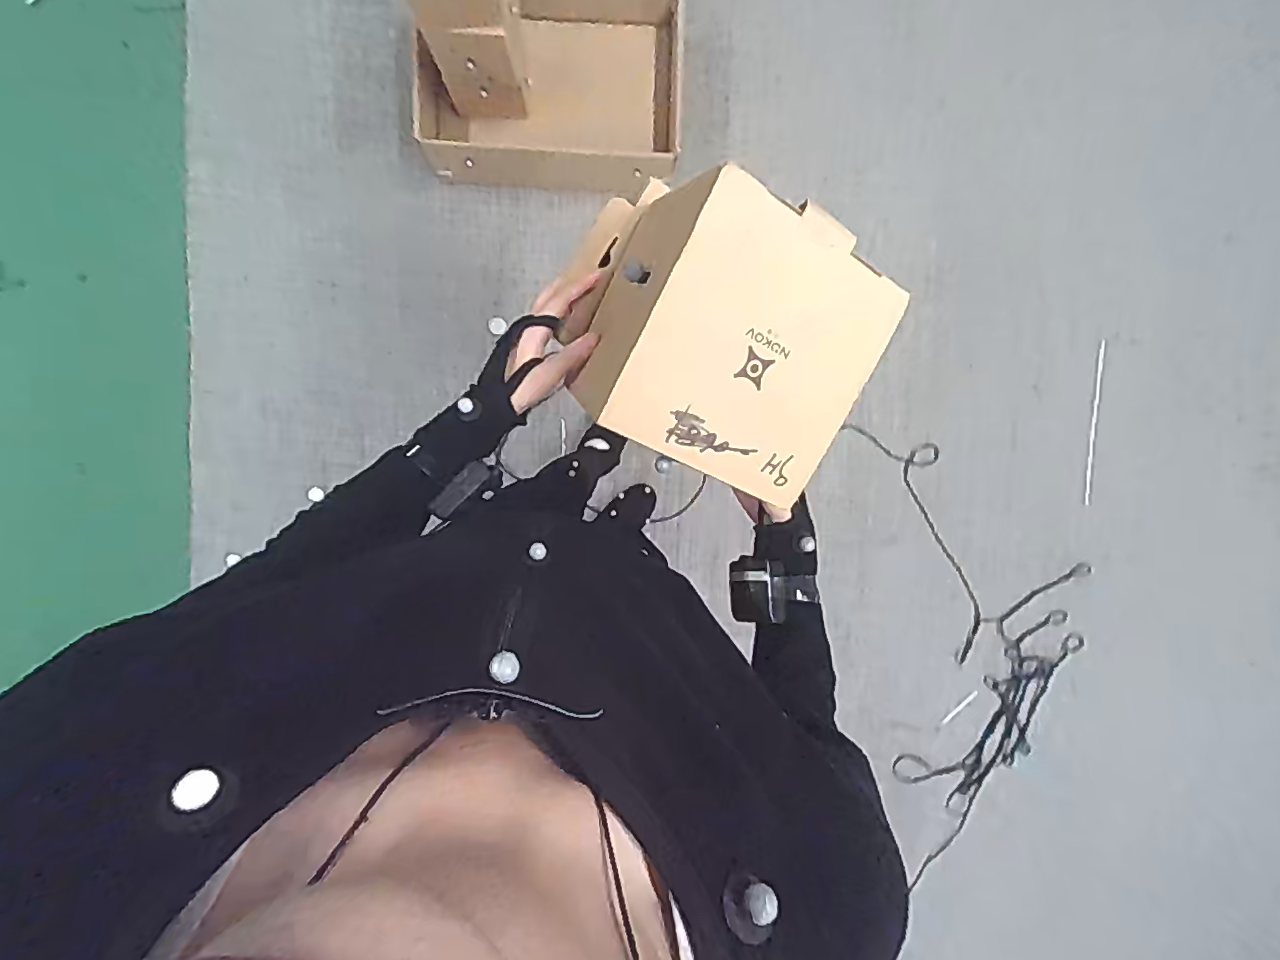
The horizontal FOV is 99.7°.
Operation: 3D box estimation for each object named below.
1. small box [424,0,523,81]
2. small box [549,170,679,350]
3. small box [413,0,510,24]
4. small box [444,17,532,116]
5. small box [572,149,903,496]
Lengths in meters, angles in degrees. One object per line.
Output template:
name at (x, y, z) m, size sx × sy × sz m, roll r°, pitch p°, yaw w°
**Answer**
small box at (-0.340, -0.971, 1.123) m, size 0.168 × 0.176 × 0.179 m, roll 2°, pitch 96°, yaw -4°
small box at (0.017, -0.186, 0.584) m, size 0.179 × 0.176 × 0.168 m, roll 31°, pitch 97°, yaw -21°
small box at (-0.333, -0.957, 0.961) m, size 0.179 × 0.176 × 0.168 m, roll -5°, pitch 97°, yaw -2°
small box at (-0.357, -0.997, 1.284) m, size 0.179 × 0.176 × 0.168 m, roll -2°, pitch 96°, yaw -4°
small box at (0.058, -0.116, 0.437) m, size 0.168 × 0.176 × 0.179 m, roll 24°, pitch 99°, yaw -22°
